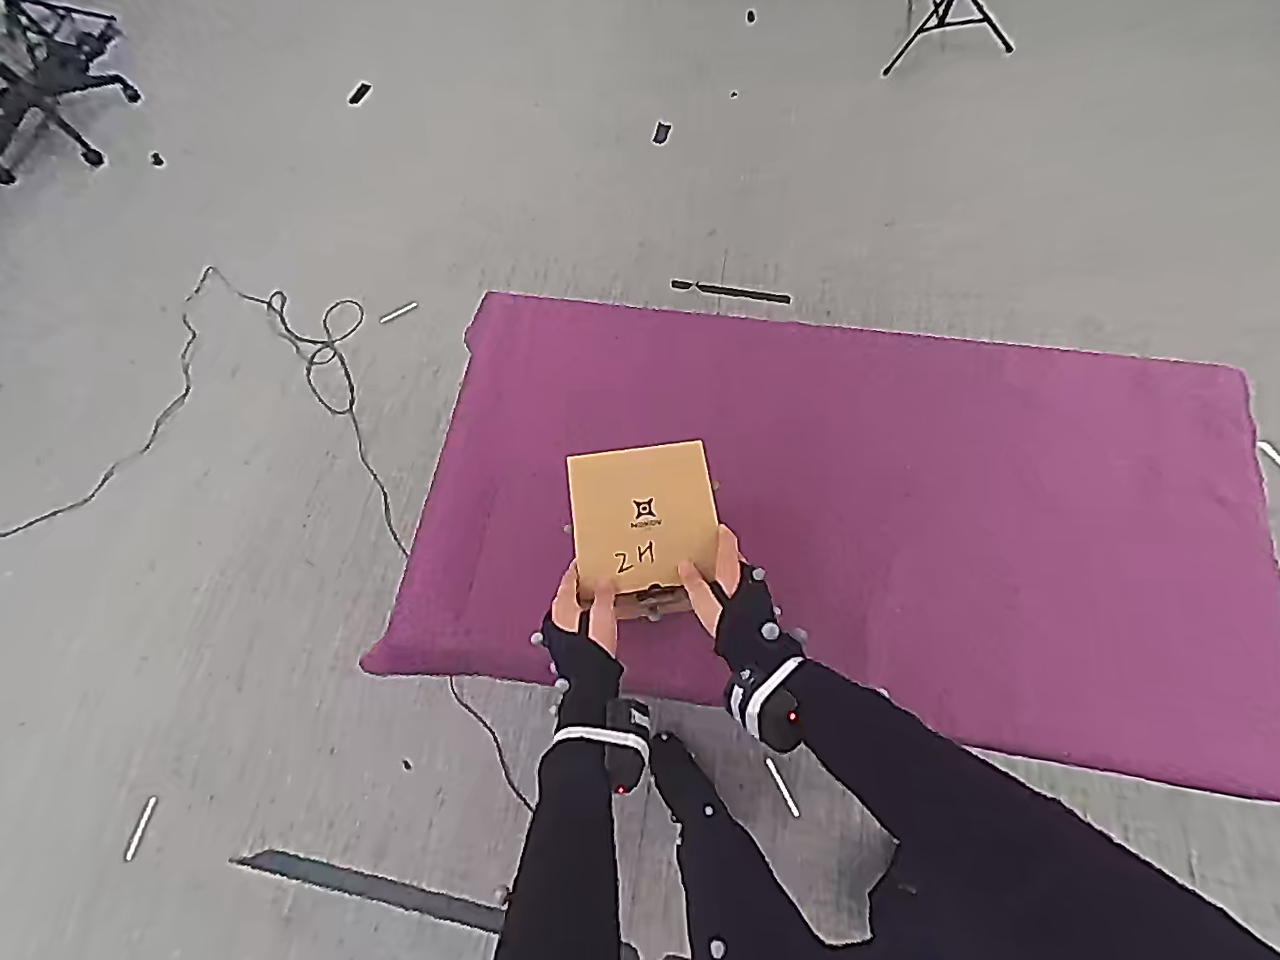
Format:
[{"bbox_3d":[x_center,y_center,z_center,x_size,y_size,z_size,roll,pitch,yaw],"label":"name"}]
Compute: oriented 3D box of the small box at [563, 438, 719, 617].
[{"bbox_3d":[-0.003,0.067,0.693,0.168,0.176,0.179,-7,67,-2],"label":"small box"}]
